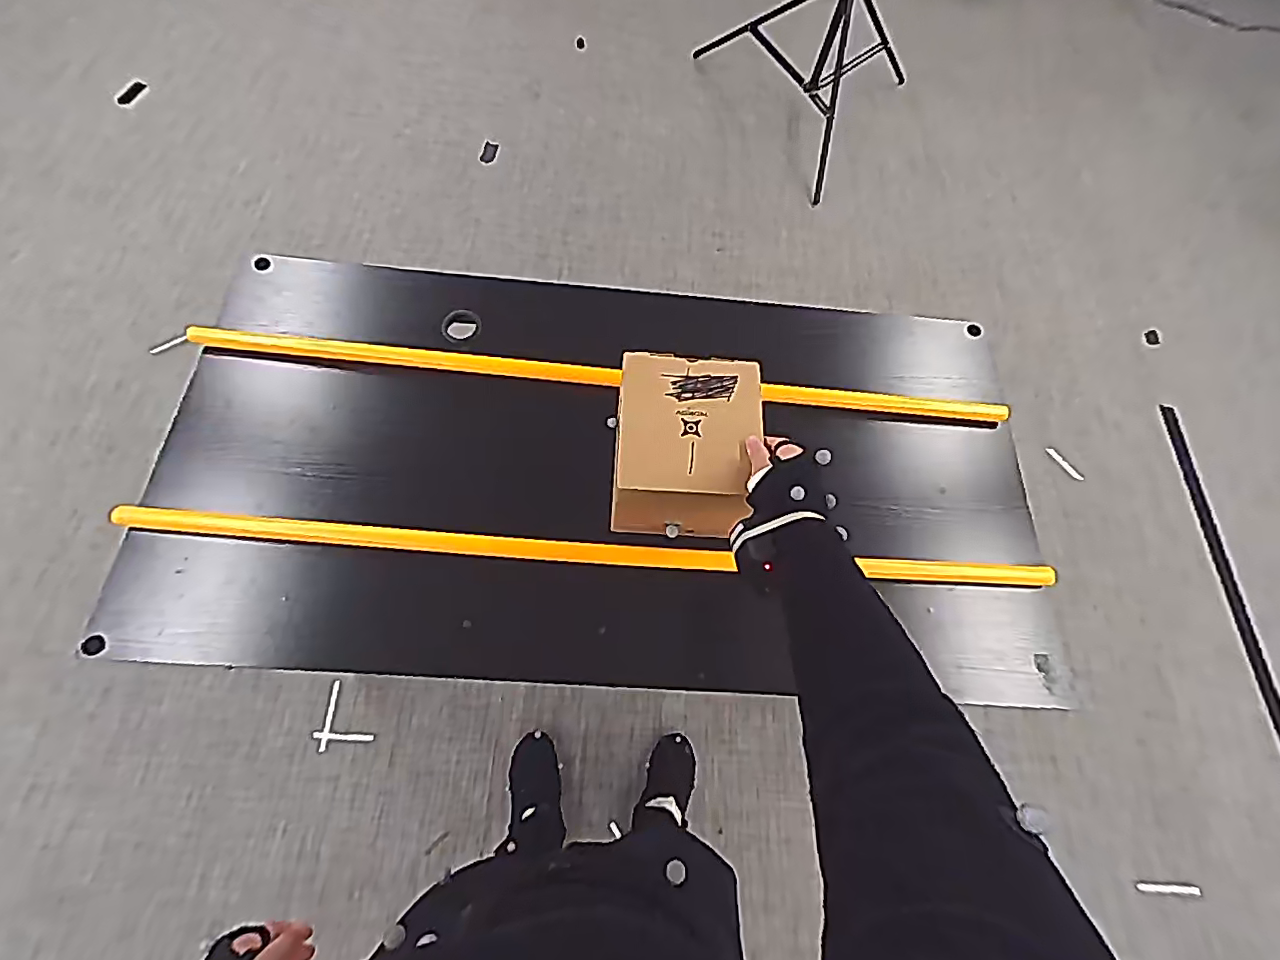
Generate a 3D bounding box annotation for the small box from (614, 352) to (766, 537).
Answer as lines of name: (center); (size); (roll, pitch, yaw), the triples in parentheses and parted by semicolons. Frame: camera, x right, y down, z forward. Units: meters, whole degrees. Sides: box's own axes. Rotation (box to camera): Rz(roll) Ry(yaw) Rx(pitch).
small box: (0.055, -0.038, 0.692); (0.168, 0.176, 0.179); (4, 69, -3)
